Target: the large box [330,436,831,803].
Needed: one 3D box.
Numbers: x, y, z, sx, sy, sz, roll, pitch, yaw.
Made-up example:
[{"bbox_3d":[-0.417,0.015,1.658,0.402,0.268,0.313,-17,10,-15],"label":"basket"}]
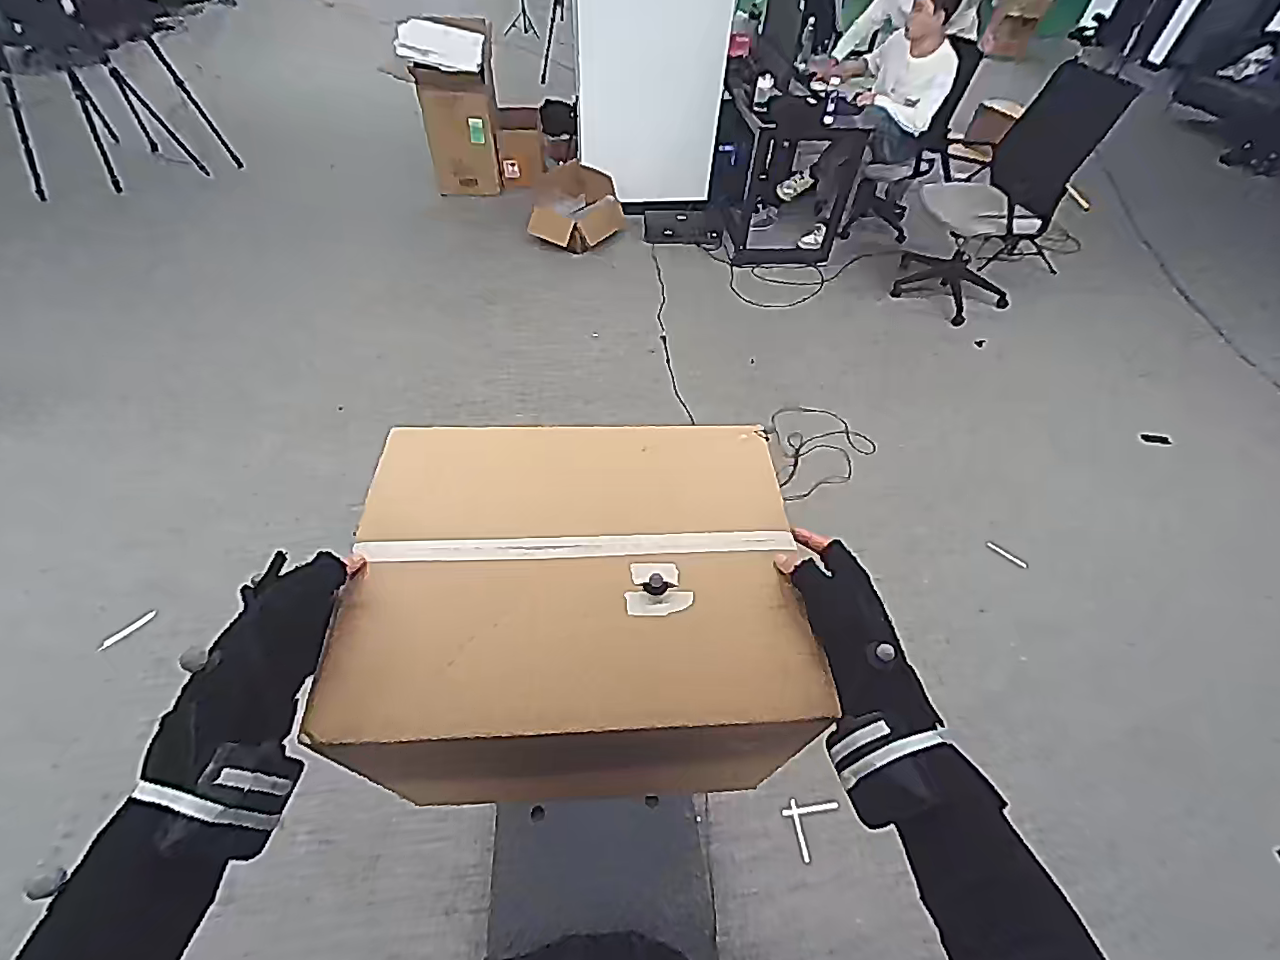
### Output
[{"bbox_3d":[-0.059,0.164,0.630,0.408,0.320,0.320,0,52,-5],"label":"large box"}]
